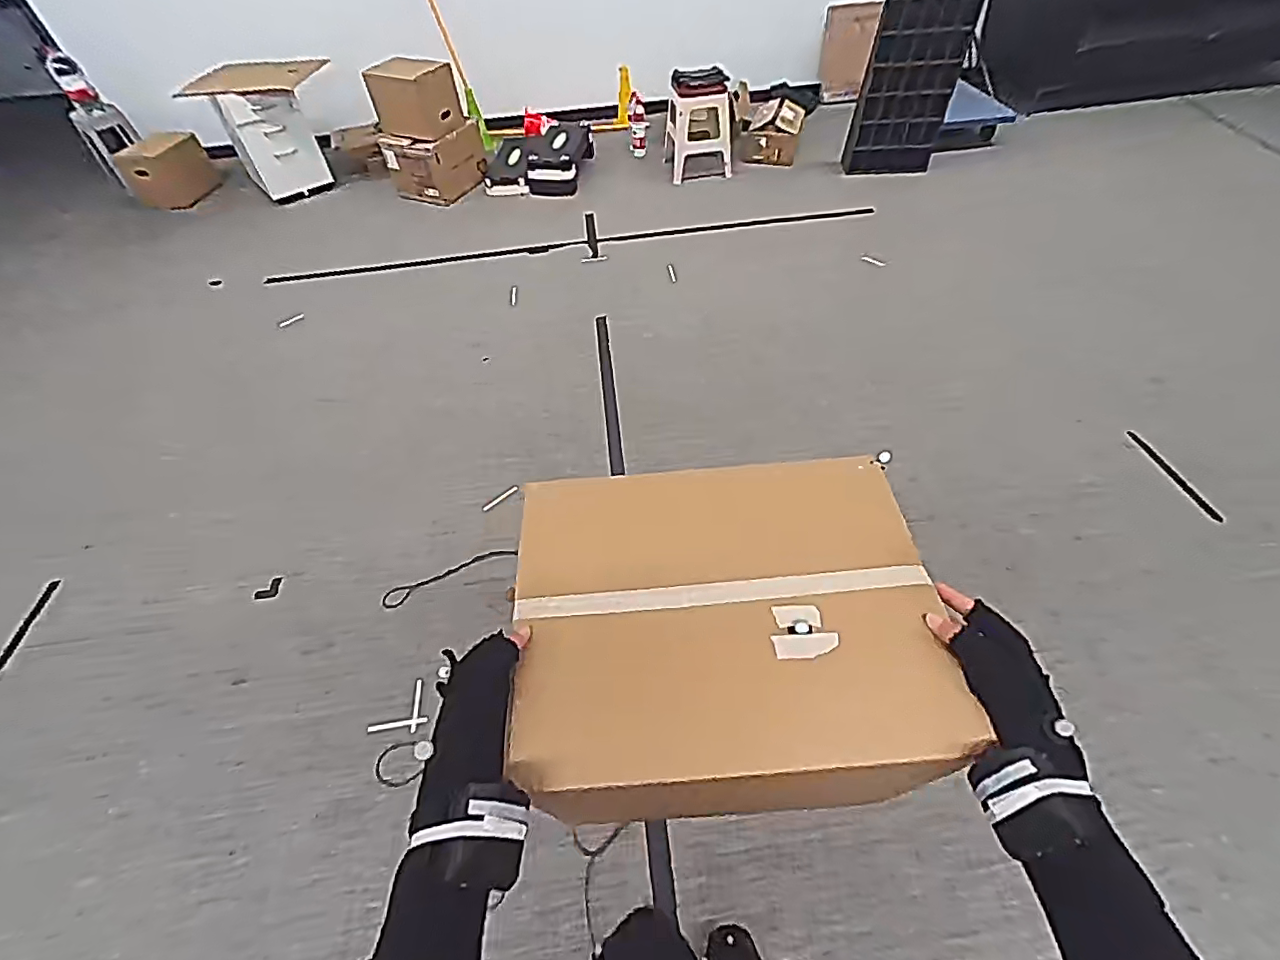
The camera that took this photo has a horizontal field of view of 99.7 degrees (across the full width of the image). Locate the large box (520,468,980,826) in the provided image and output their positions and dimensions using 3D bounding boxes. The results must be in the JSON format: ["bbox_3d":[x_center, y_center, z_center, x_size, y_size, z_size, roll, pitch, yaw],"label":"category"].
[{"bbox_3d":[0.089,0.213,0.663,0.408,0.320,0.320,-5,54,0],"label":"large box"}]
